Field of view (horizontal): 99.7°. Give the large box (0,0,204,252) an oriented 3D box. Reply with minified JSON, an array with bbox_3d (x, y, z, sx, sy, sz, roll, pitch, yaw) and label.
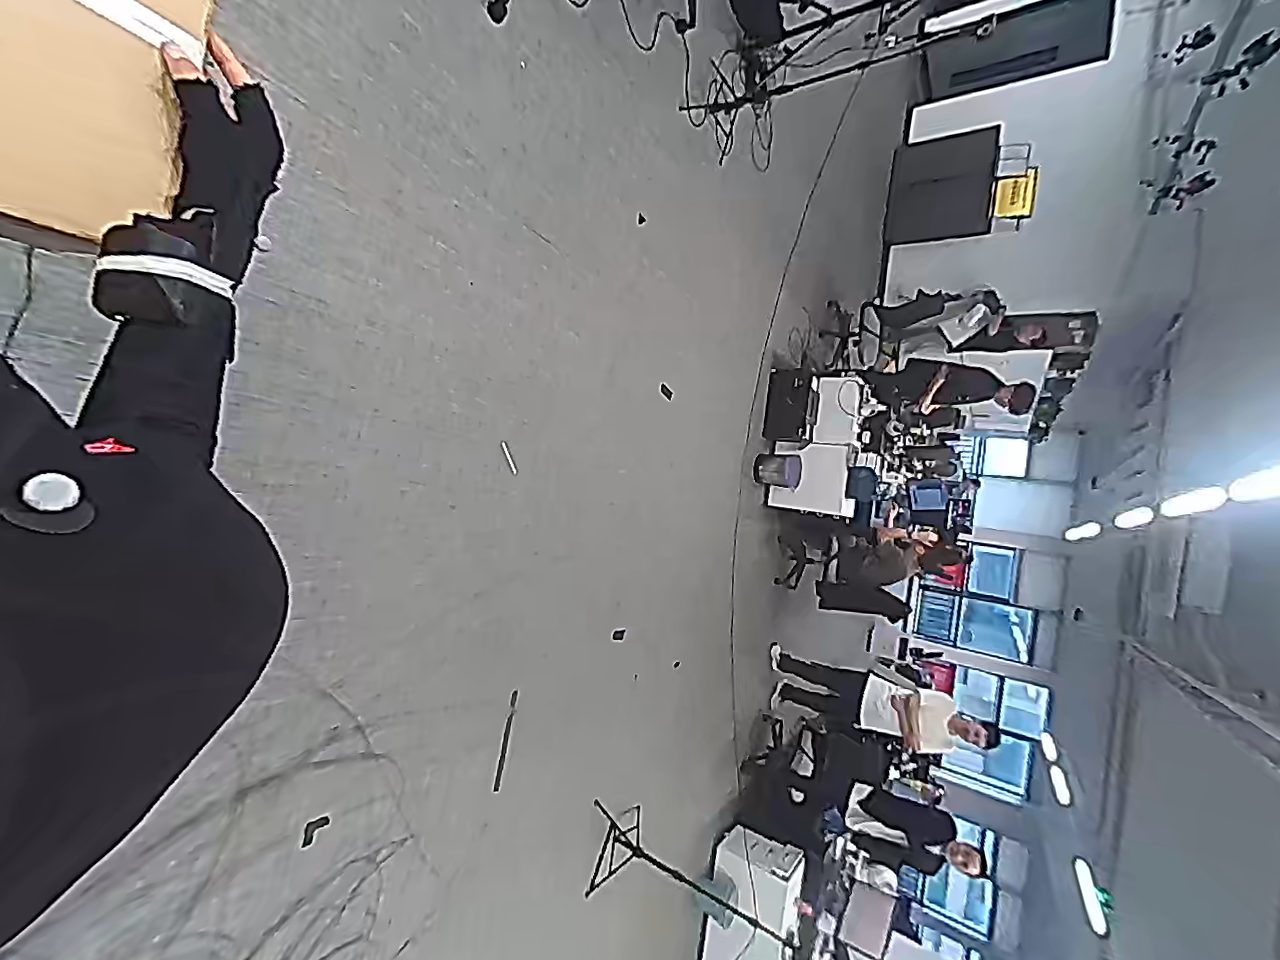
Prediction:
[{"bbox_3d":[-0.573,-0.371,0.321,0.408,0.320,0.320,6,100,-61],"label":"large box"}]
